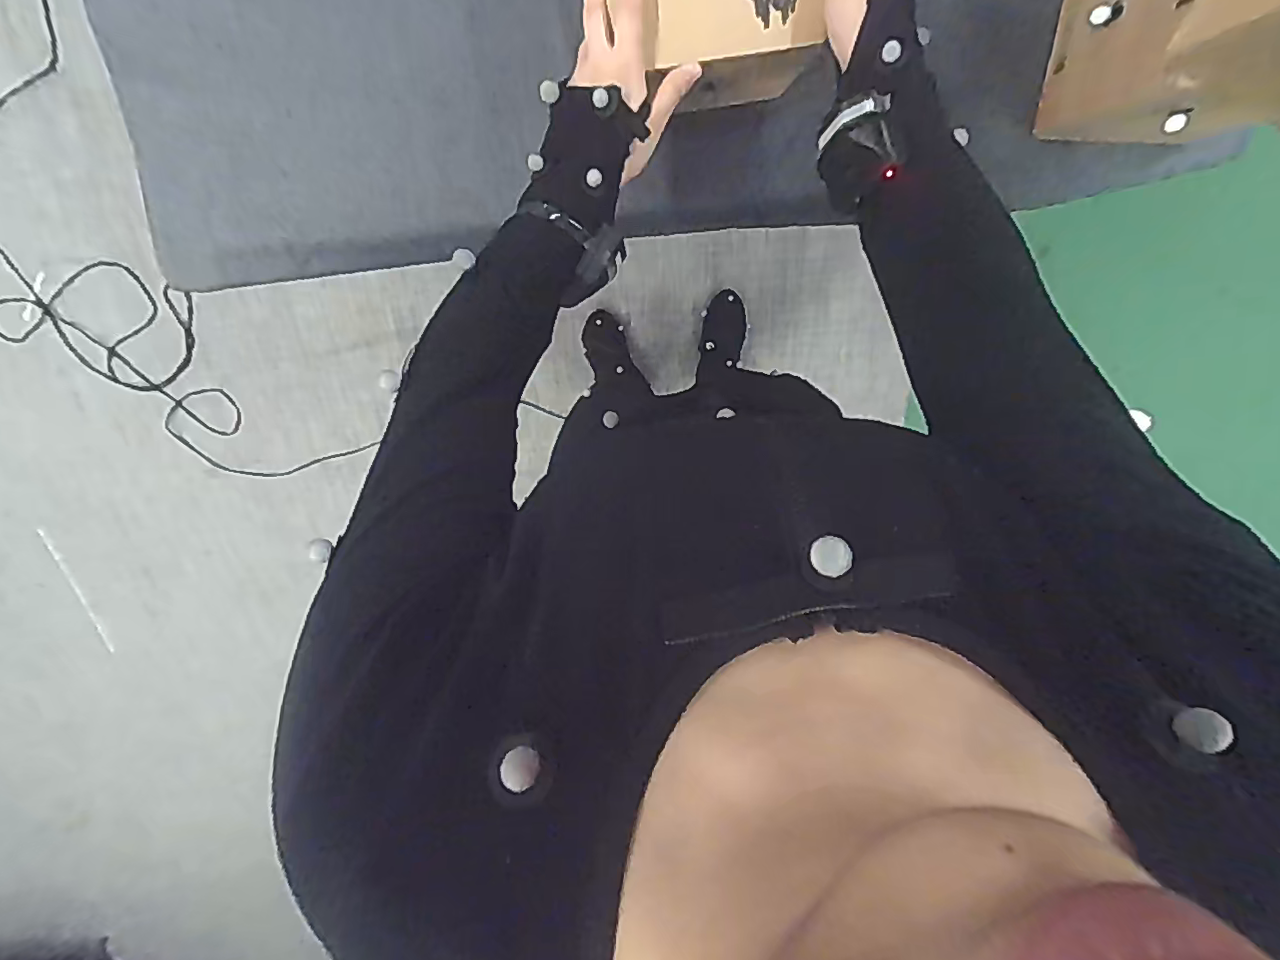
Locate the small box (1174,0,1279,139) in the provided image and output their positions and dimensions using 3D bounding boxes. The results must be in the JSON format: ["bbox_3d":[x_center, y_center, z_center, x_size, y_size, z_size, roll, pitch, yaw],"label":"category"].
[{"bbox_3d":[0.521,-0.341,0.341,0.179,0.176,0.168,21,108,-8],"label":"small box"}]
